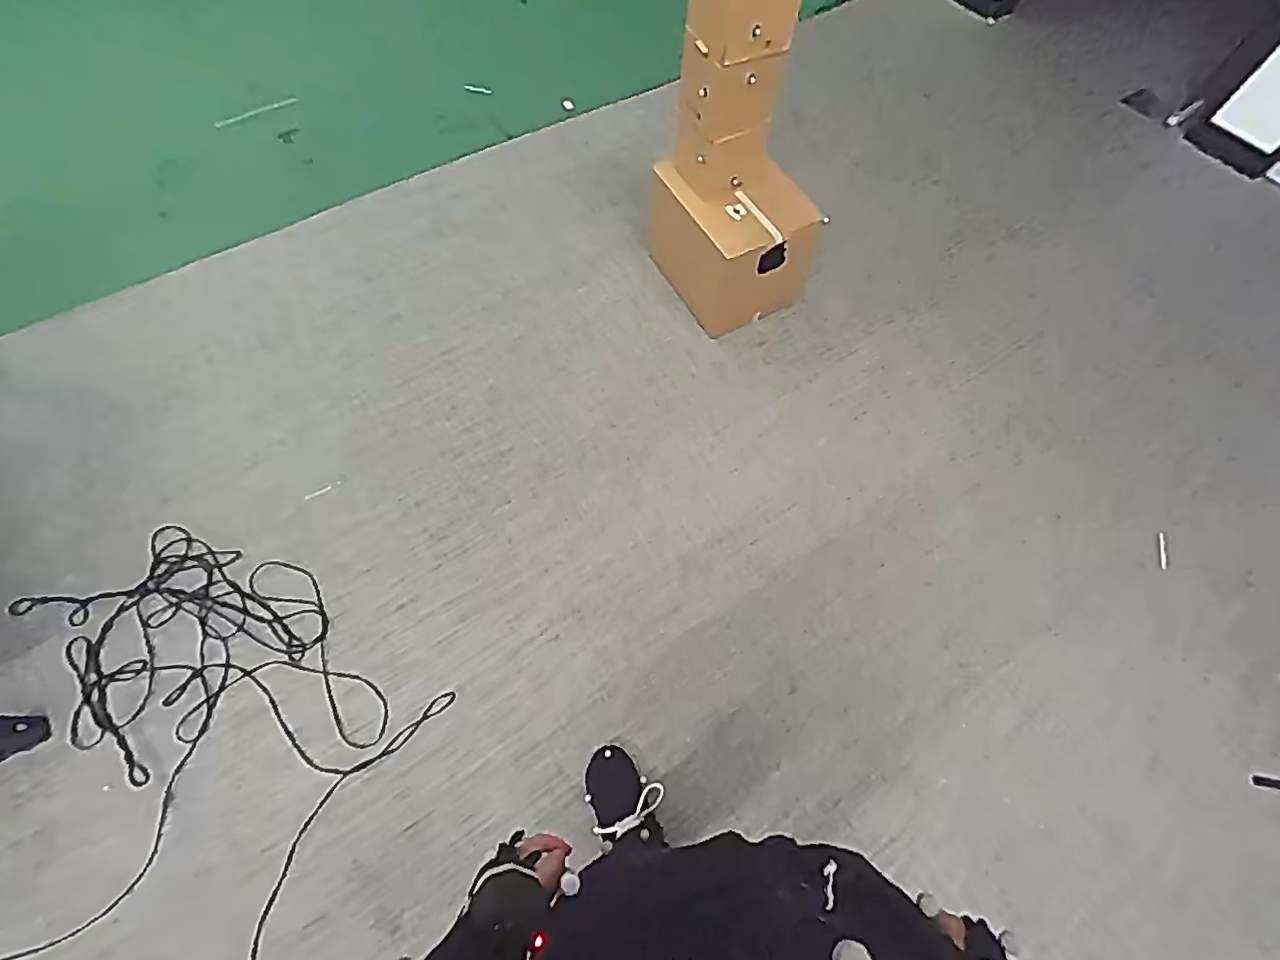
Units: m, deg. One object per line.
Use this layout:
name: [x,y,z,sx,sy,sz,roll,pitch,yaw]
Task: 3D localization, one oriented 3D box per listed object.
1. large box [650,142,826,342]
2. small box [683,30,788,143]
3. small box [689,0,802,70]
large box: [0.262,-0.697,1.600,0.320,0.320,0.408,-27,69,-11]
small box: [0.209,-0.922,1.255,0.179,0.176,0.168,-23,70,-12]
small box: [0.214,-0.989,1.107,0.168,0.176,0.179,-22,70,-11]
